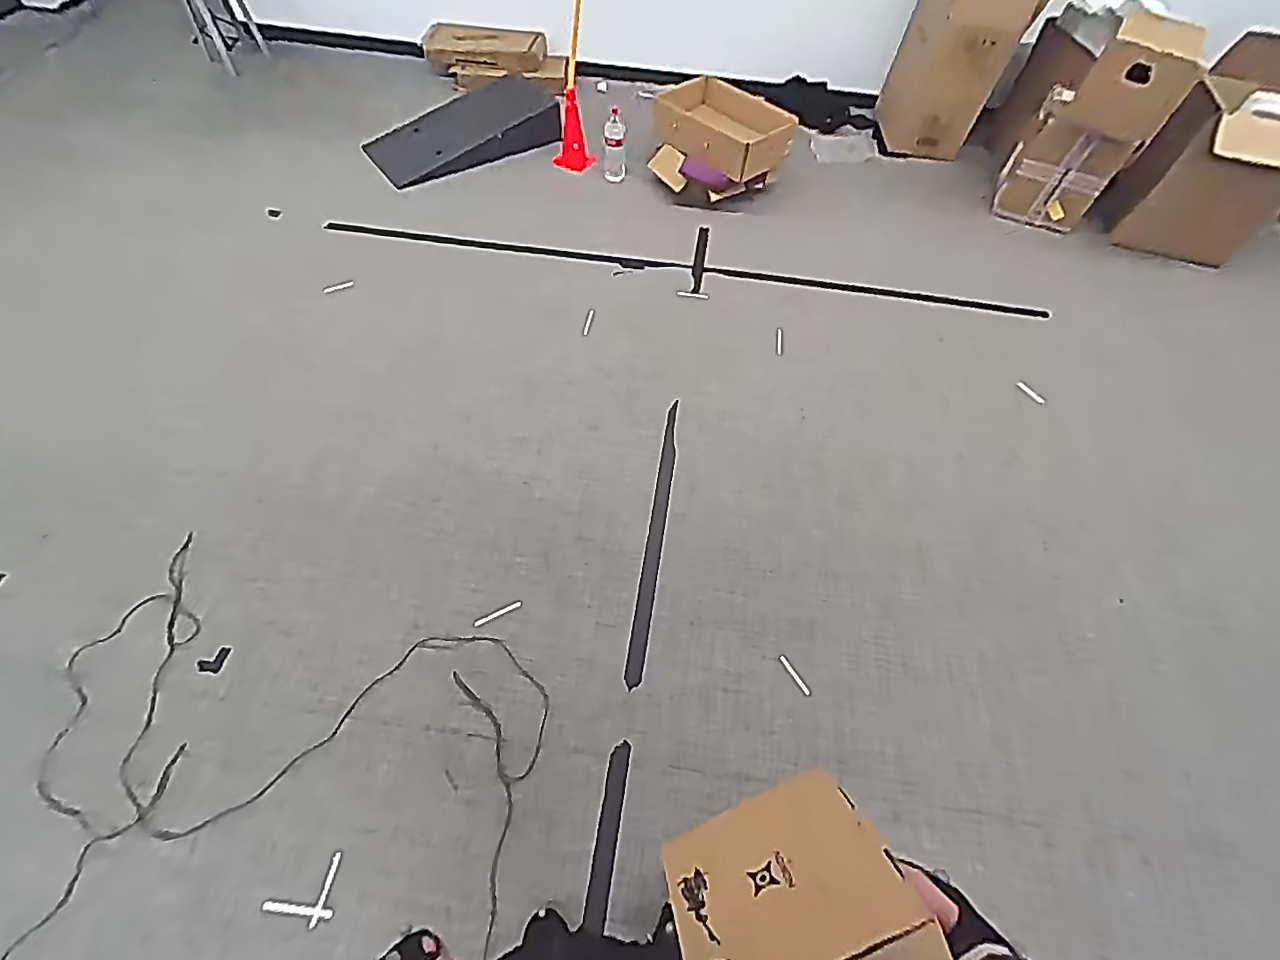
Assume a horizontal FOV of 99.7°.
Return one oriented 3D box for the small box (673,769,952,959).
[{"bbox_3d":[0.150,0.399,0.458,0.179,0.168,0.176,-24,97,-4],"label":"small box"}]
